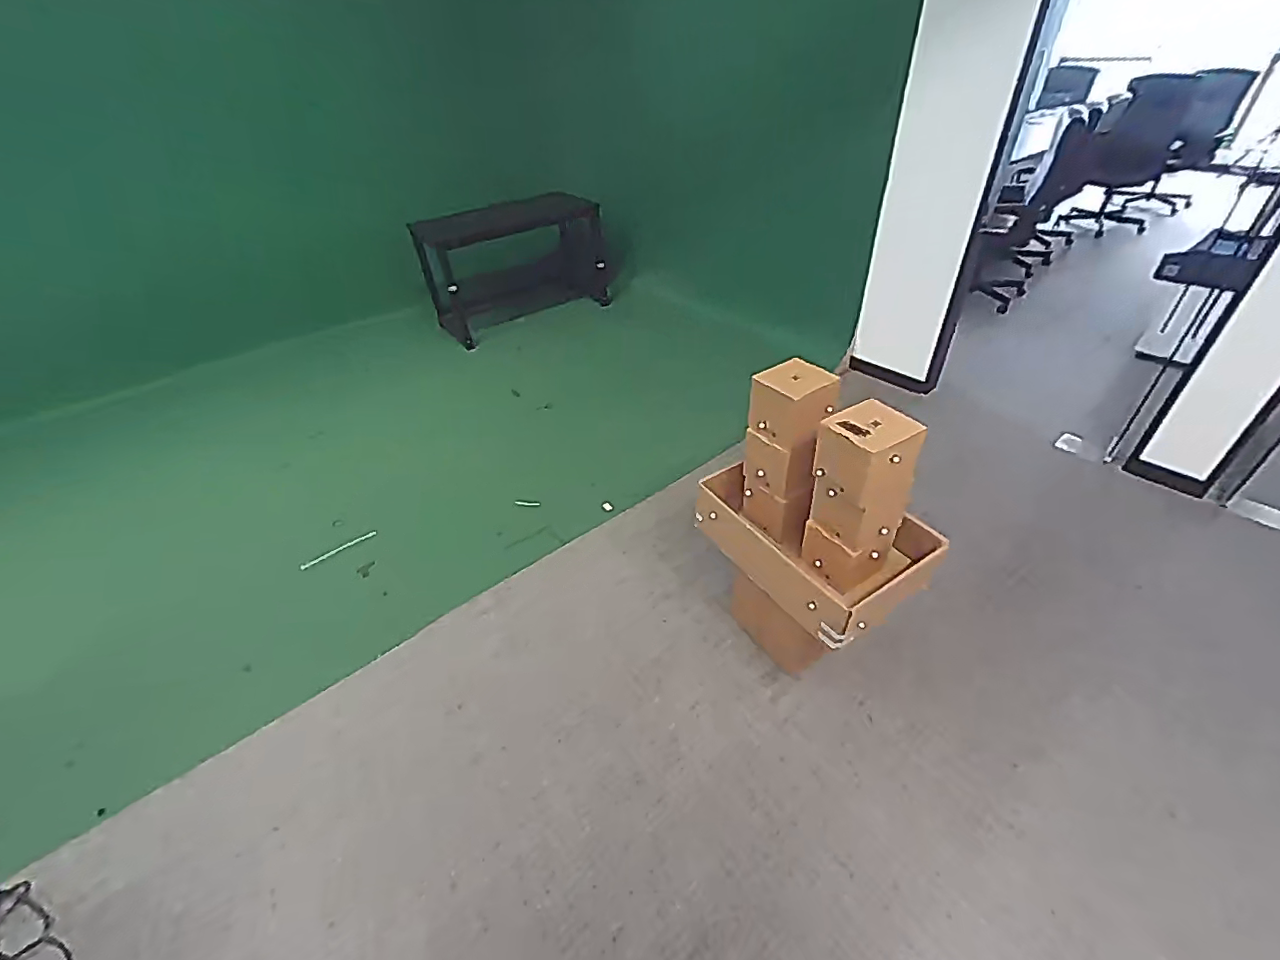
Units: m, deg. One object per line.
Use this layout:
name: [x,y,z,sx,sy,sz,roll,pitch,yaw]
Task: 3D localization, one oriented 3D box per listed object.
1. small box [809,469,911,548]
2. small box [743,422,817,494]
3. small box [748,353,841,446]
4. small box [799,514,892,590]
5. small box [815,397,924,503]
small box: [0.569,0.047,1.424,0.179,0.176,0.168,-24,44,-21]
small box: [0.420,-0.091,1.590,0.179,0.176,0.168,-27,46,-25]
small box: [0.417,-0.222,1.491,0.179,0.176,0.168,-26,45,-24]
small box: [0.571,0.175,1.527,0.179,0.176,0.168,-26,45,-22]
small box: [0.544,-0.071,1.310,0.179,0.176,0.168,-23,44,-19]
